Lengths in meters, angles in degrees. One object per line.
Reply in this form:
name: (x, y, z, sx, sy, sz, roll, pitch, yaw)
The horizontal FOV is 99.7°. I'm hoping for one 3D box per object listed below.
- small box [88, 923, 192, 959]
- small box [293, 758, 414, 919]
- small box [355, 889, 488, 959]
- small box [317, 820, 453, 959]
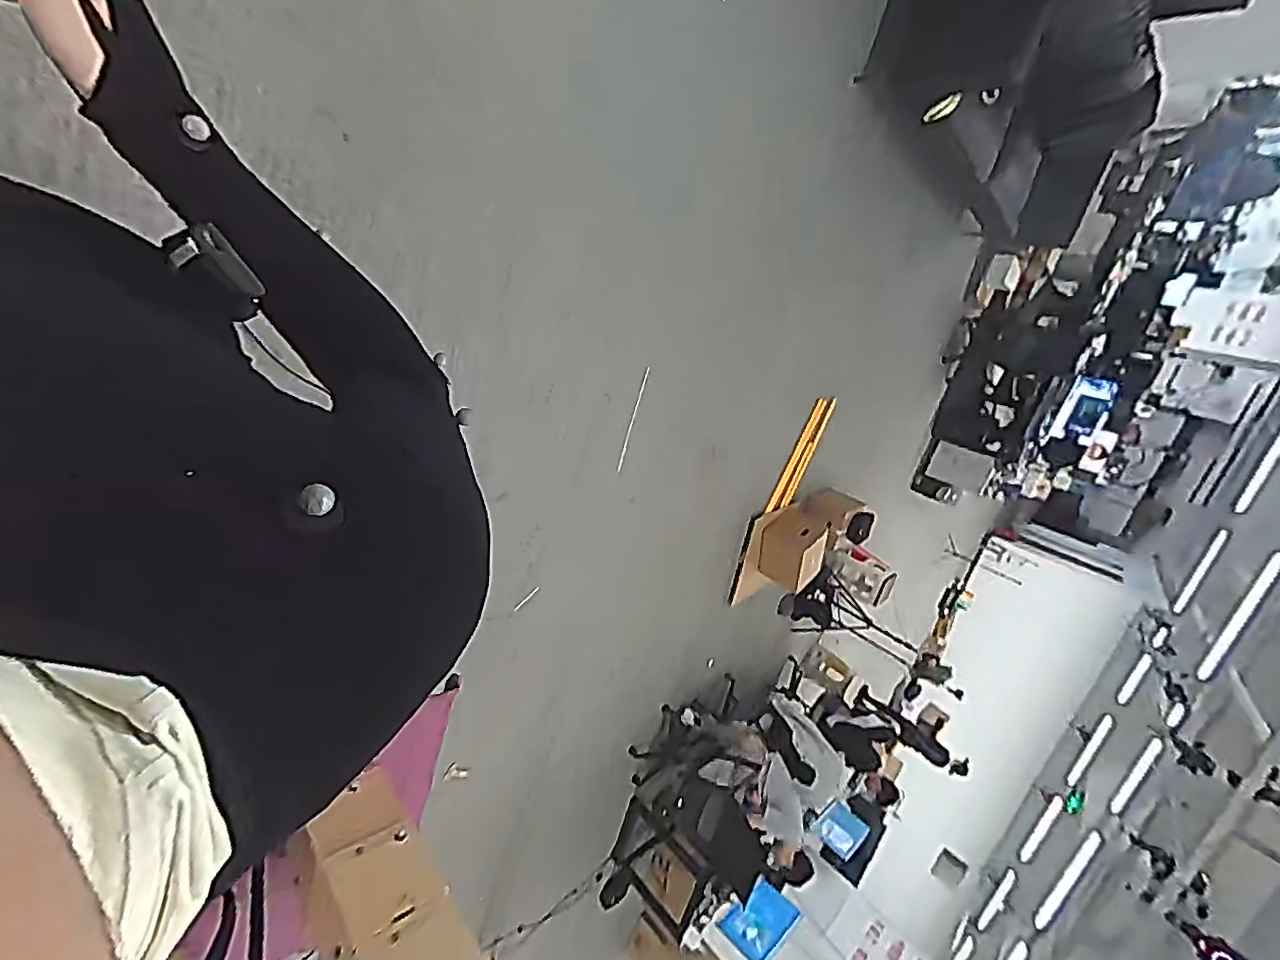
small box: (-0.715, 0.770, 0.732, 0.168, 0.176, 0.179, 0, 113, -47)
small box: (-0.586, 0.714, 1.098, 0.168, 0.176, 0.179, -1, 113, -47)
small box: (-0.364, 0.842, 0.894, 0.168, 0.176, 0.179, -2, 116, -47)
small box: (-0.473, 0.770, 0.994, 0.168, 0.176, 0.179, -1, 115, -47)
